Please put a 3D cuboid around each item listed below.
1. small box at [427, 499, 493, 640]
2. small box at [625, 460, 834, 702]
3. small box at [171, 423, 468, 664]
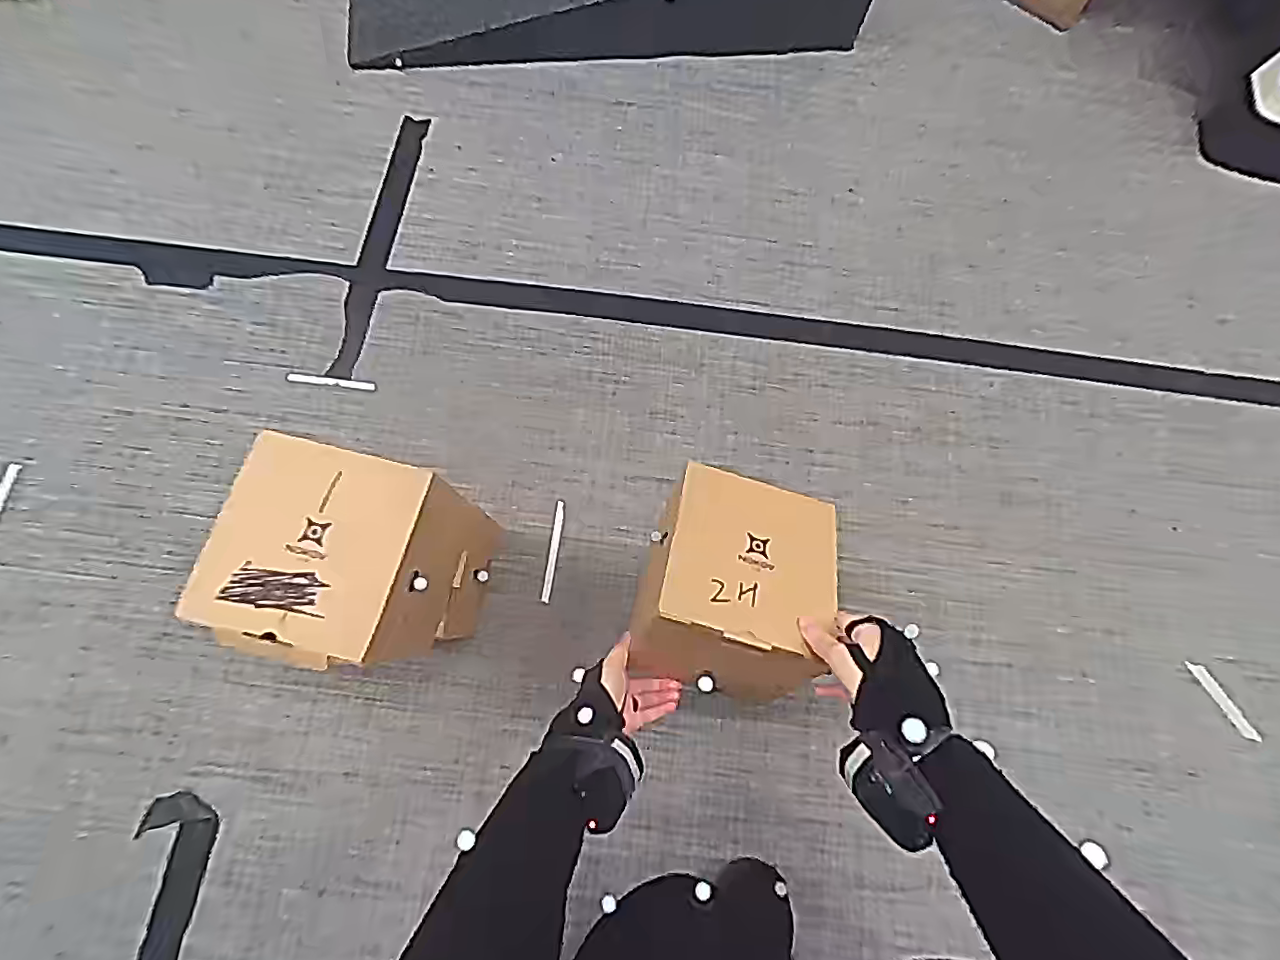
[{"bbox_3d":[-0.302,0.106,0.700,0.179,0.176,0.168,10,75,-2],"label":"small box"},{"bbox_3d":[0.090,0.114,0.580,0.168,0.176,0.179,17,54,-2],"label":"small box"},{"bbox_3d":[-0.289,0.070,0.539,0.168,0.176,0.179,15,74,0],"label":"small box"}]
